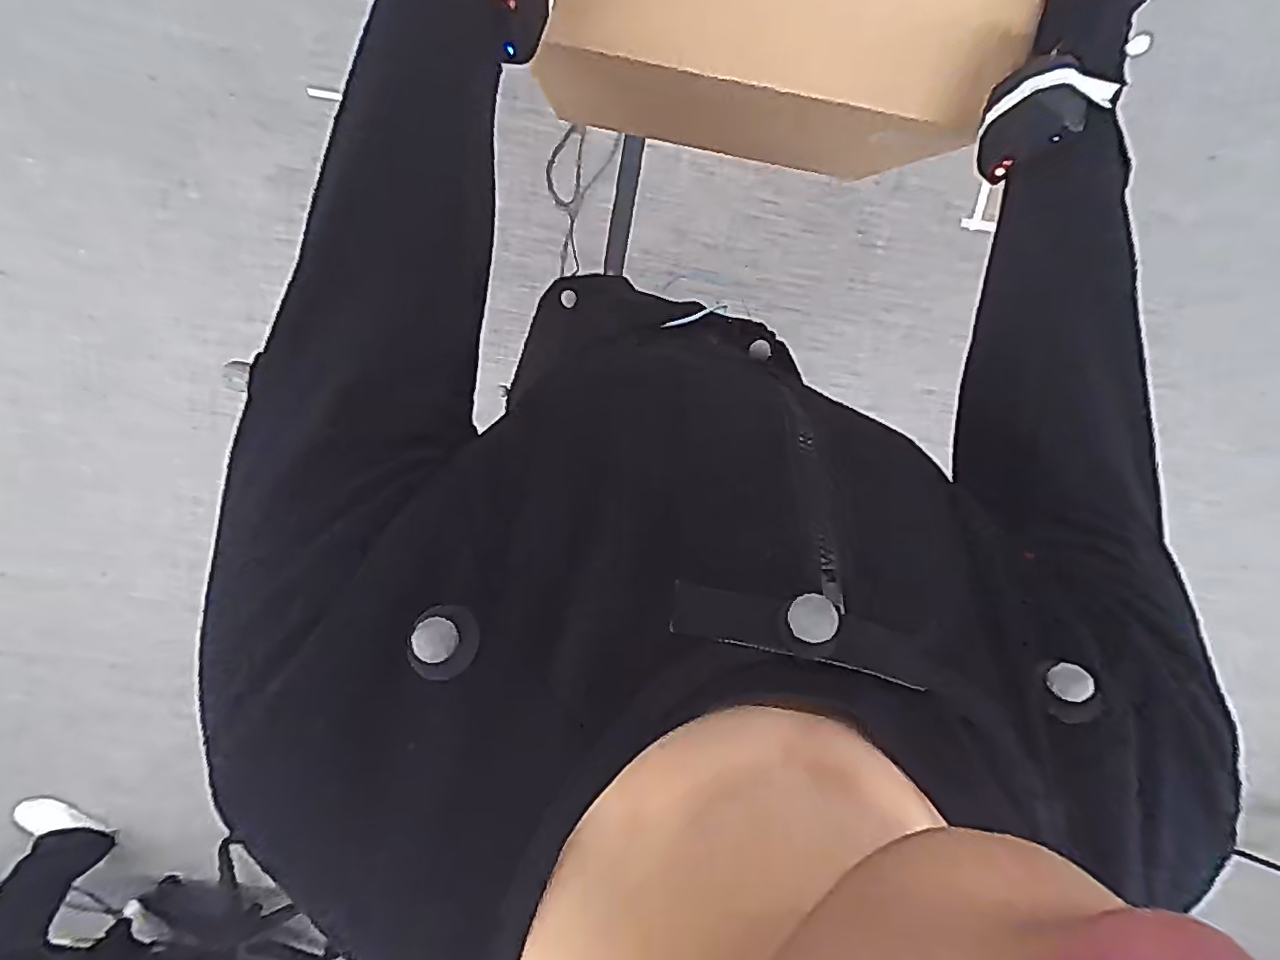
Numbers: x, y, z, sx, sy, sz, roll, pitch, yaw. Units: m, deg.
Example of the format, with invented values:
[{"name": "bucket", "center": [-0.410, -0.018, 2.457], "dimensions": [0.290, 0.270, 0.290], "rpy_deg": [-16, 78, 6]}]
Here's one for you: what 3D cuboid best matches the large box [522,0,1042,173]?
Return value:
[{"name": "large box", "center": [0.122, -0.515, 0.512], "dimensions": [0.408, 0.320, 0.320], "rpy_deg": [9, 114, -5]}]
